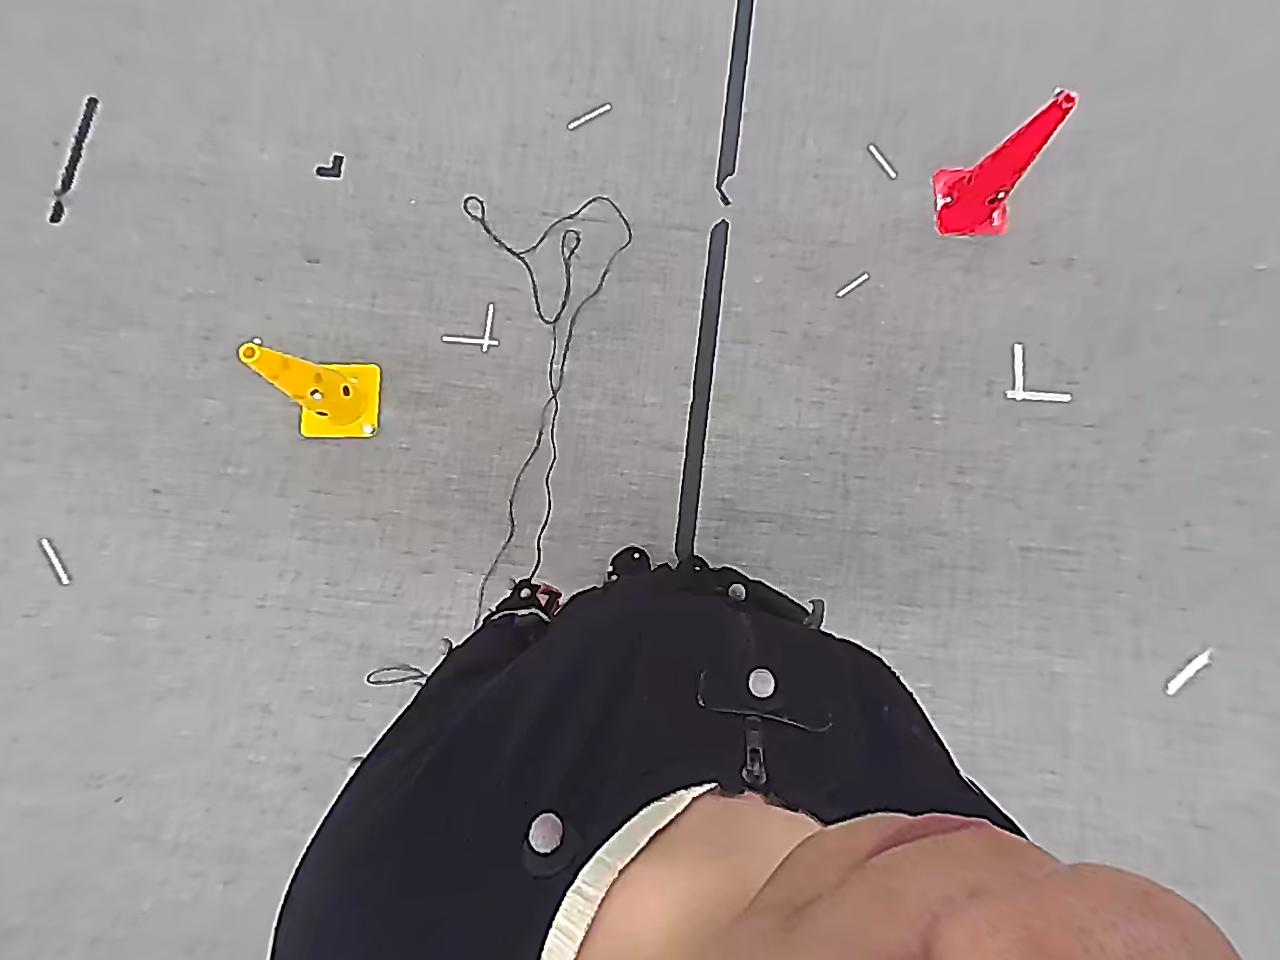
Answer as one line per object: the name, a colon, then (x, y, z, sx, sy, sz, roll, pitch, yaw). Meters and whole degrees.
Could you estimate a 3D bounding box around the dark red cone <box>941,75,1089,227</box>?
dark red cone: (0.939, -0.821, 1.340, 0.201, 0.394, 0.202, -1, 82, 1)
